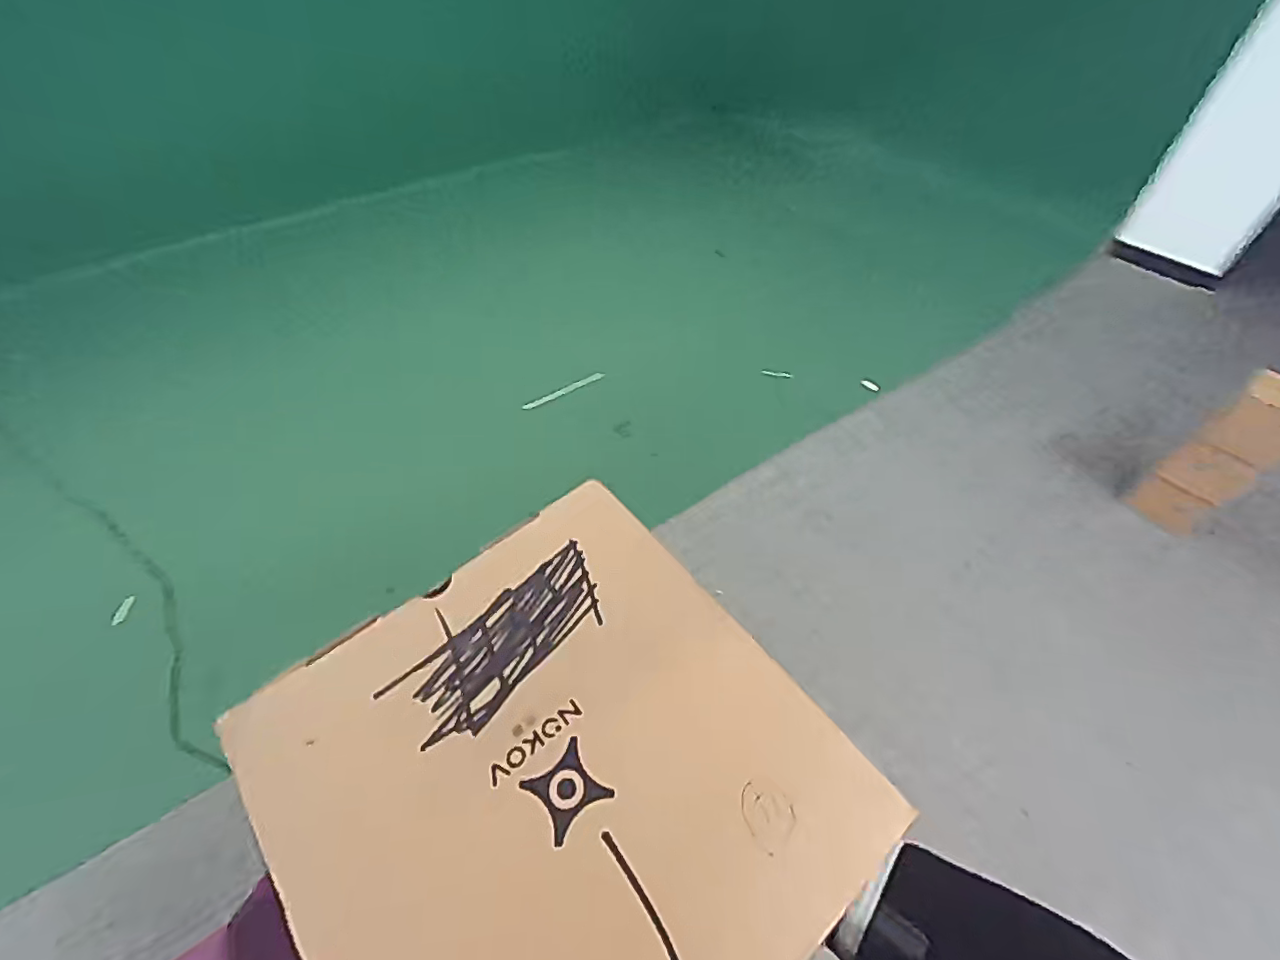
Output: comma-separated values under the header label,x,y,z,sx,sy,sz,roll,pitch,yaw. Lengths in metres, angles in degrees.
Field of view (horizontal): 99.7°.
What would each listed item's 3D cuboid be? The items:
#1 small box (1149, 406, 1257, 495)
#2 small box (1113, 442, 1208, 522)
label,x,y,z,sx,sy,sz,roll,pitch,yaw
small box,1.712,-0.086,1.634,0.168,0.176,0.179,-34,56,-23
small box,1.717,0.014,1.765,0.168,0.176,0.179,-33,55,-24
